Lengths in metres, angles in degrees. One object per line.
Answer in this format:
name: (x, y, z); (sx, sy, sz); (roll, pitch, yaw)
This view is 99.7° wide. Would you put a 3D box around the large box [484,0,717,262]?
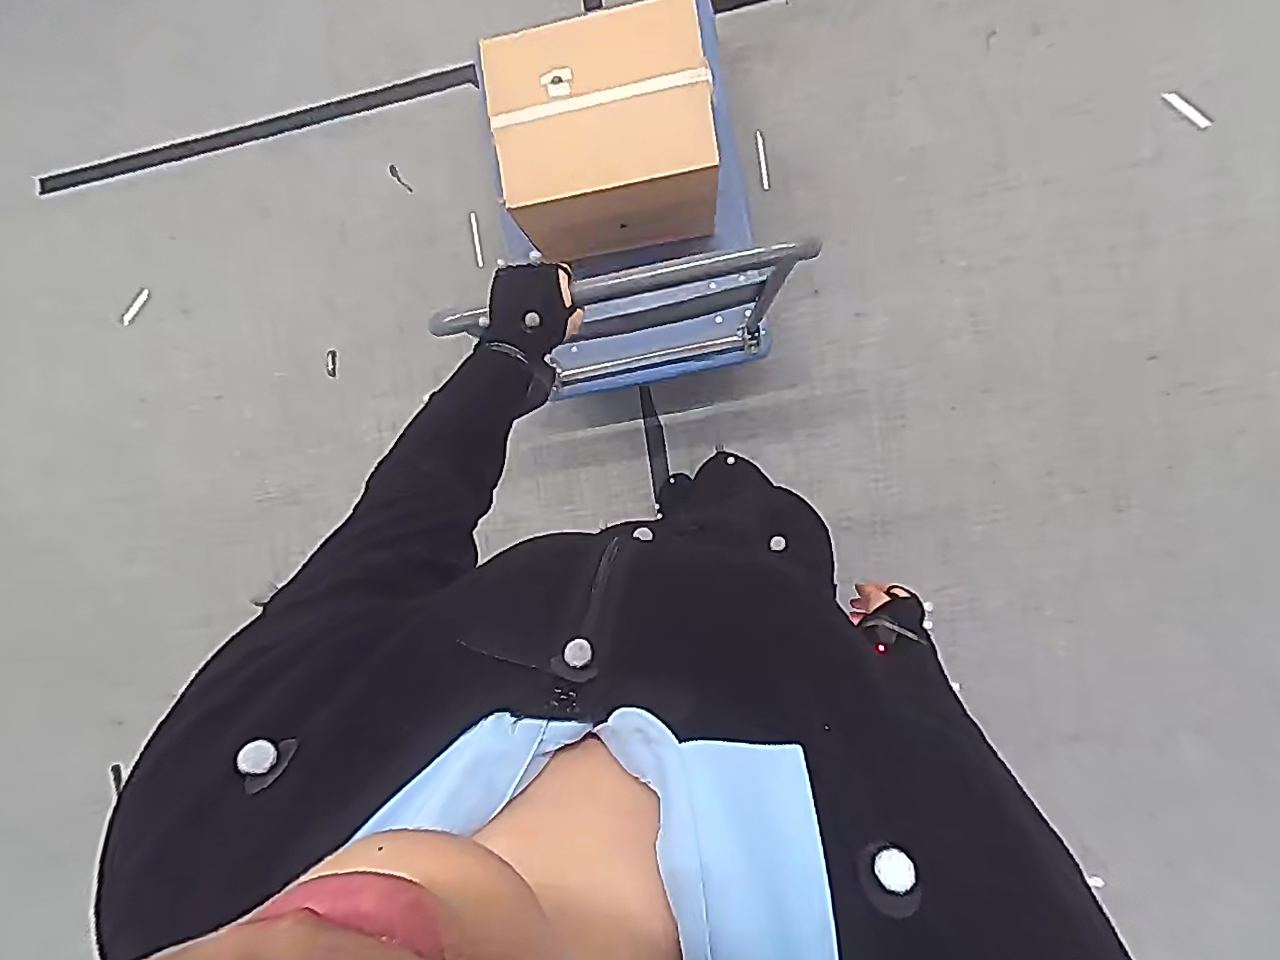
large box: (-0.060, -0.702, 1.148); (0.408, 0.320, 0.320); (-9, 91, 7)
